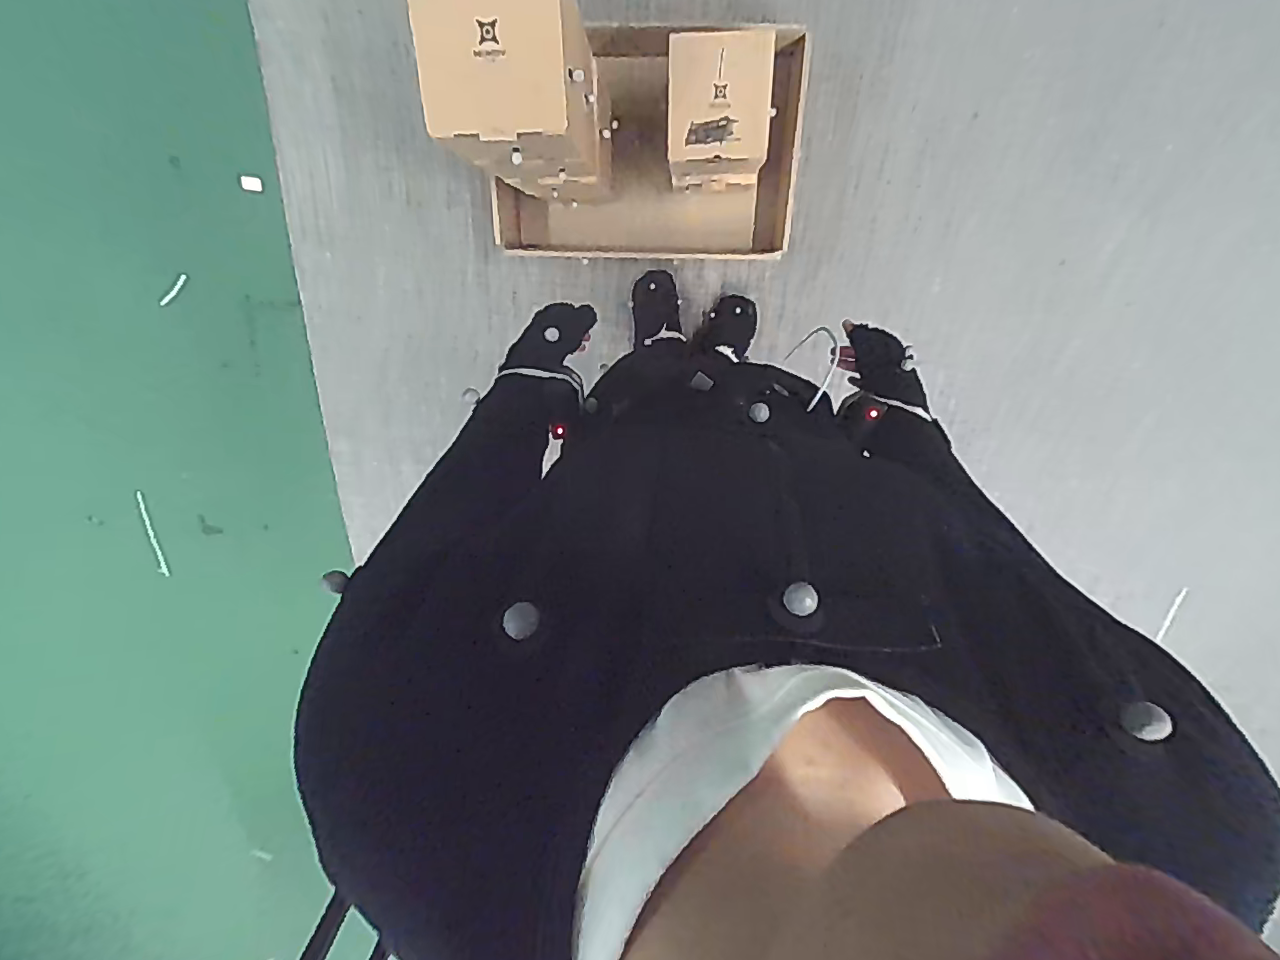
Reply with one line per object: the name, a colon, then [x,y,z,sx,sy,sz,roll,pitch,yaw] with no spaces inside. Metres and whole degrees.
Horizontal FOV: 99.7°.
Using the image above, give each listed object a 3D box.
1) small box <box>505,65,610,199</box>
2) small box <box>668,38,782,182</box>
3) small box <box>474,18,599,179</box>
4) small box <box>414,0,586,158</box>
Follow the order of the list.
small box: [-0.144,-0.617,0.972,0.168,0.176,0.179,3,112,1]
small box: [0.138,-0.630,0.943,0.168,0.176,0.179,4,112,1]
small box: [-0.153,-0.563,0.817,0.168,0.176,0.179,1,111,1]
small box: [-0.157,-0.506,0.664,0.168,0.176,0.179,0,112,1]
